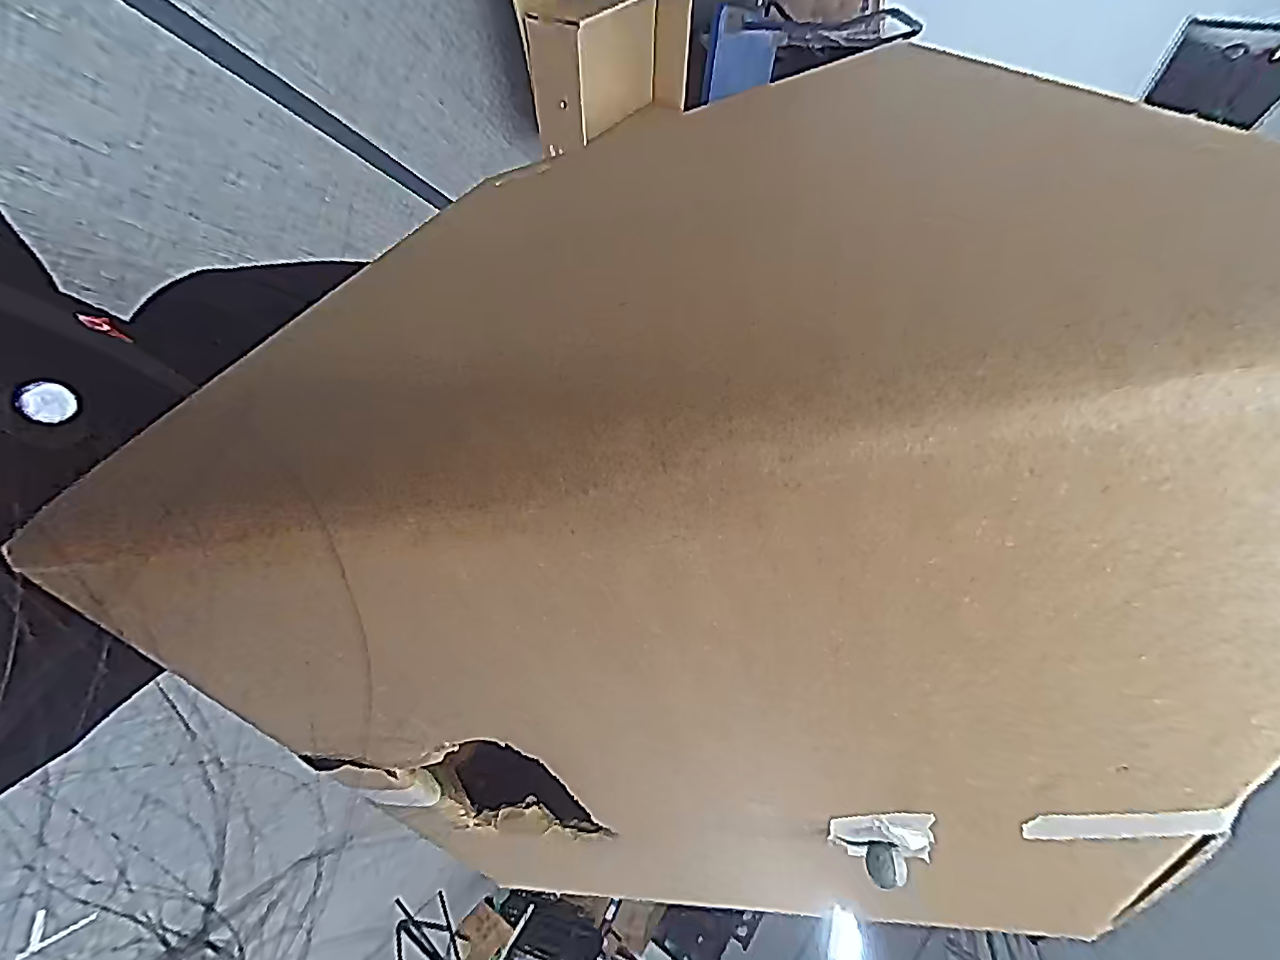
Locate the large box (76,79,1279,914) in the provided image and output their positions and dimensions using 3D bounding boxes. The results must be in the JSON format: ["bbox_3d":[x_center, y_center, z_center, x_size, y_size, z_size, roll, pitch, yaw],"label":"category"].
[{"bbox_3d":[0.040,-0.016,0.354,0.408,0.320,0.320,-79,156,-48],"label":"large box"}]
